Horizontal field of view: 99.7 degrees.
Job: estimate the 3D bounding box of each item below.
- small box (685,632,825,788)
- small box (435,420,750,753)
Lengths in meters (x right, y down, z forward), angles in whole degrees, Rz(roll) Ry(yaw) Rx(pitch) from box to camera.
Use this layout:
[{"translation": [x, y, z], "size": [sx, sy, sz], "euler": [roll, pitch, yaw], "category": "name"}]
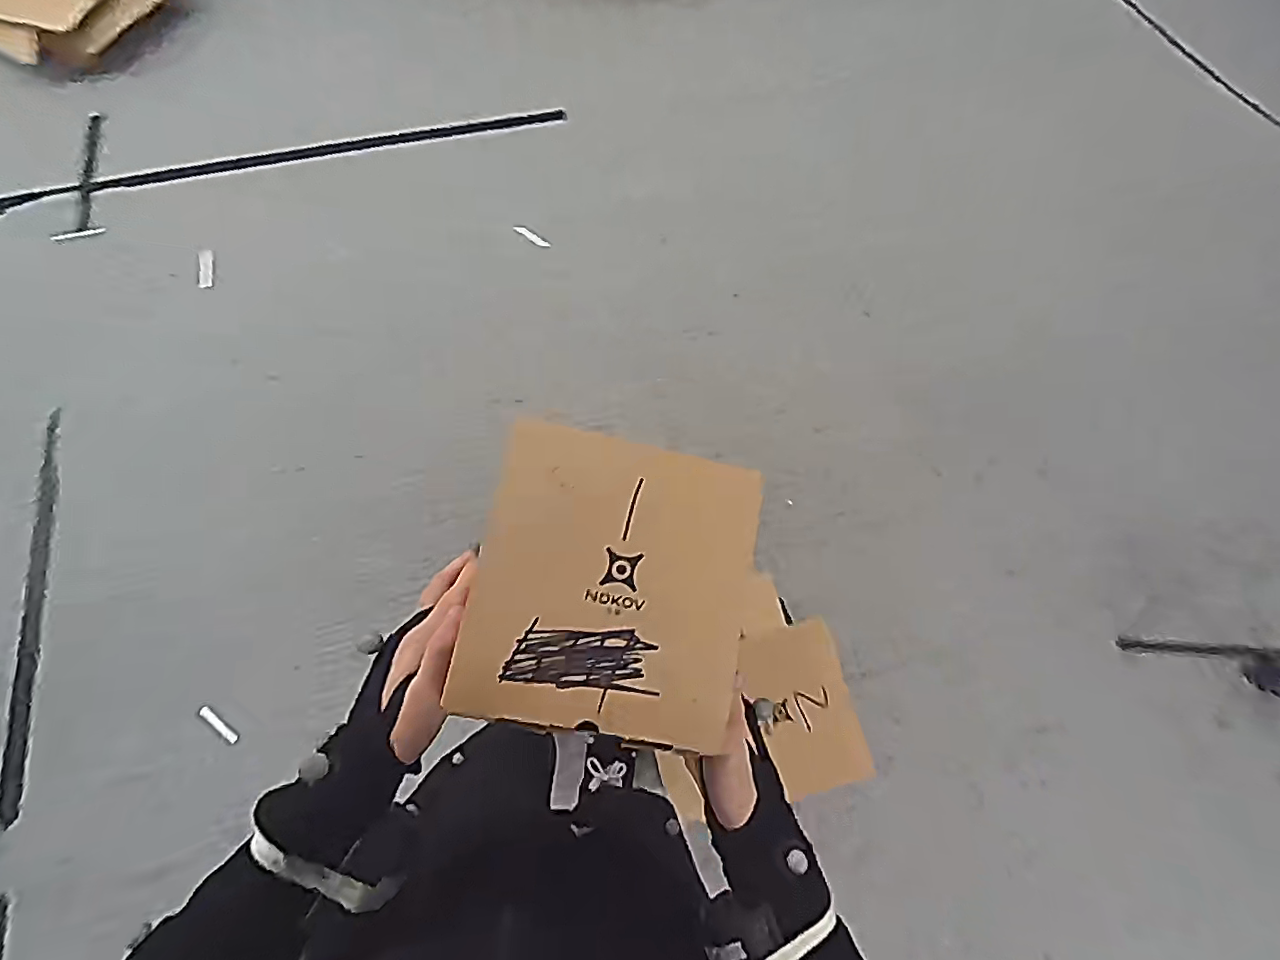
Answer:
[{"translation": [0.142, 0.330, 0.803], "size": [0.179, 0.176, 0.168], "euler": [-13, 71, -4], "category": "small box"}, {"translation": [-0.035, 0.077, 0.404], "size": [0.168, 0.176, 0.179], "euler": [12, 77, -8], "category": "small box"}]
